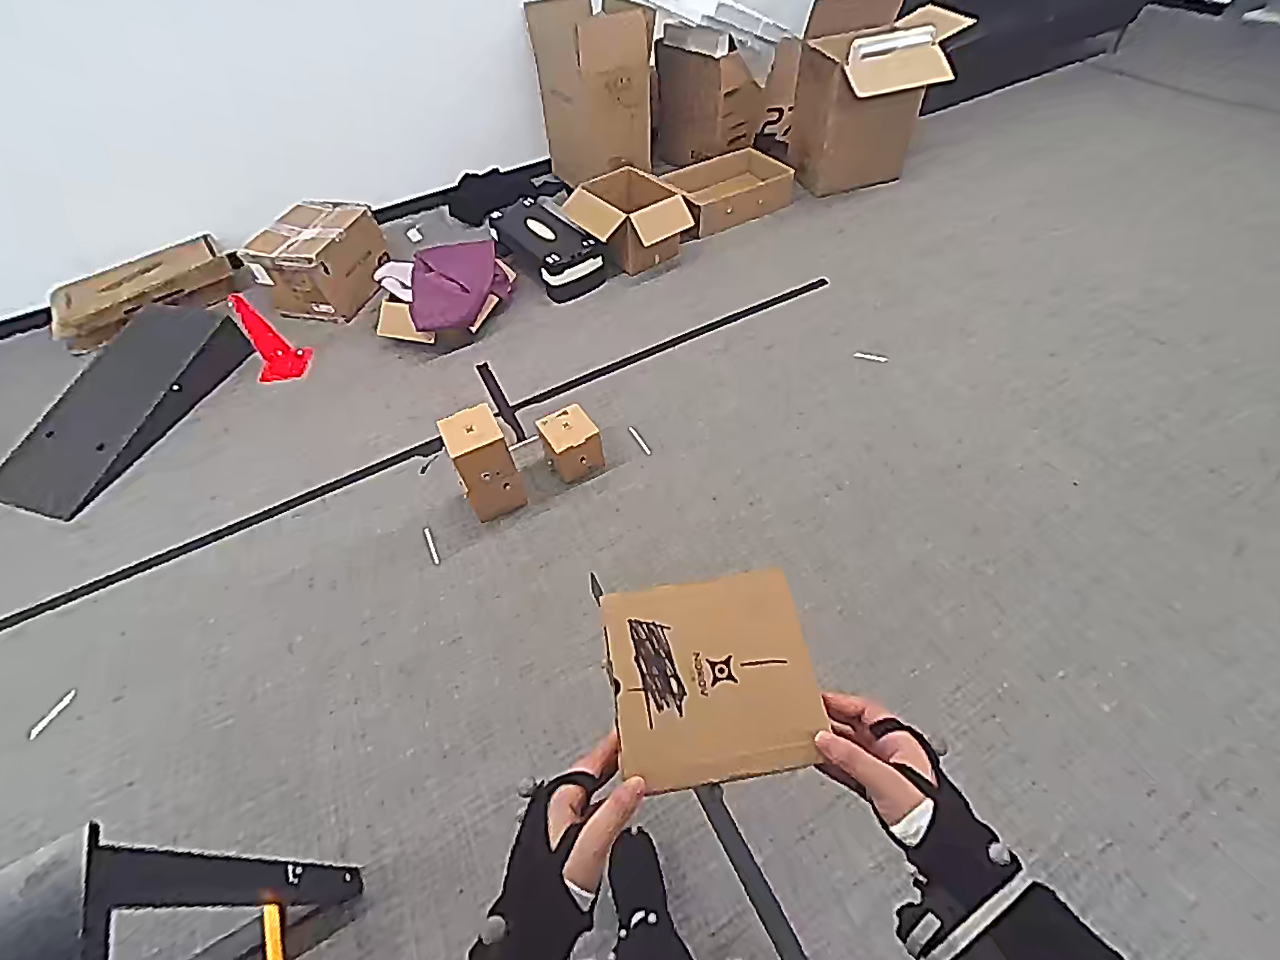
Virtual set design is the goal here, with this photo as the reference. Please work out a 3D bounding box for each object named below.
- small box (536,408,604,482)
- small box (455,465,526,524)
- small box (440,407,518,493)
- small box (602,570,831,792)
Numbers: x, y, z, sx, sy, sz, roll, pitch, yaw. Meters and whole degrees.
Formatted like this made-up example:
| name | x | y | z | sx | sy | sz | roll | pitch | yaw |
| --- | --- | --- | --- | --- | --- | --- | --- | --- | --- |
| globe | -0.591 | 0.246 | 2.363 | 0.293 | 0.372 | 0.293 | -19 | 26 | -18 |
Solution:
| name | x | y | z | sx | sy | sz | roll | pitch | yaw |
| --- | --- | --- | --- | --- | --- | --- | --- | --- | --- |
| small box | -0.241 | -0.114 | 1.902 | 0.168 | 0.176 | 0.179 | -28 | 55 | -16 |
| small box | -0.496 | 0.015 | 1.819 | 0.179 | 0.176 | 0.168 | -24 | 54 | -13 |
| small box | -0.503 | -0.091 | 1.696 | 0.168 | 0.176 | 0.179 | -26 | 55 | -13 |
| small box | 0.063 | 0.207 | 0.543 | 0.179 | 0.176 | 0.168 | -7 | 59 | -4 |
